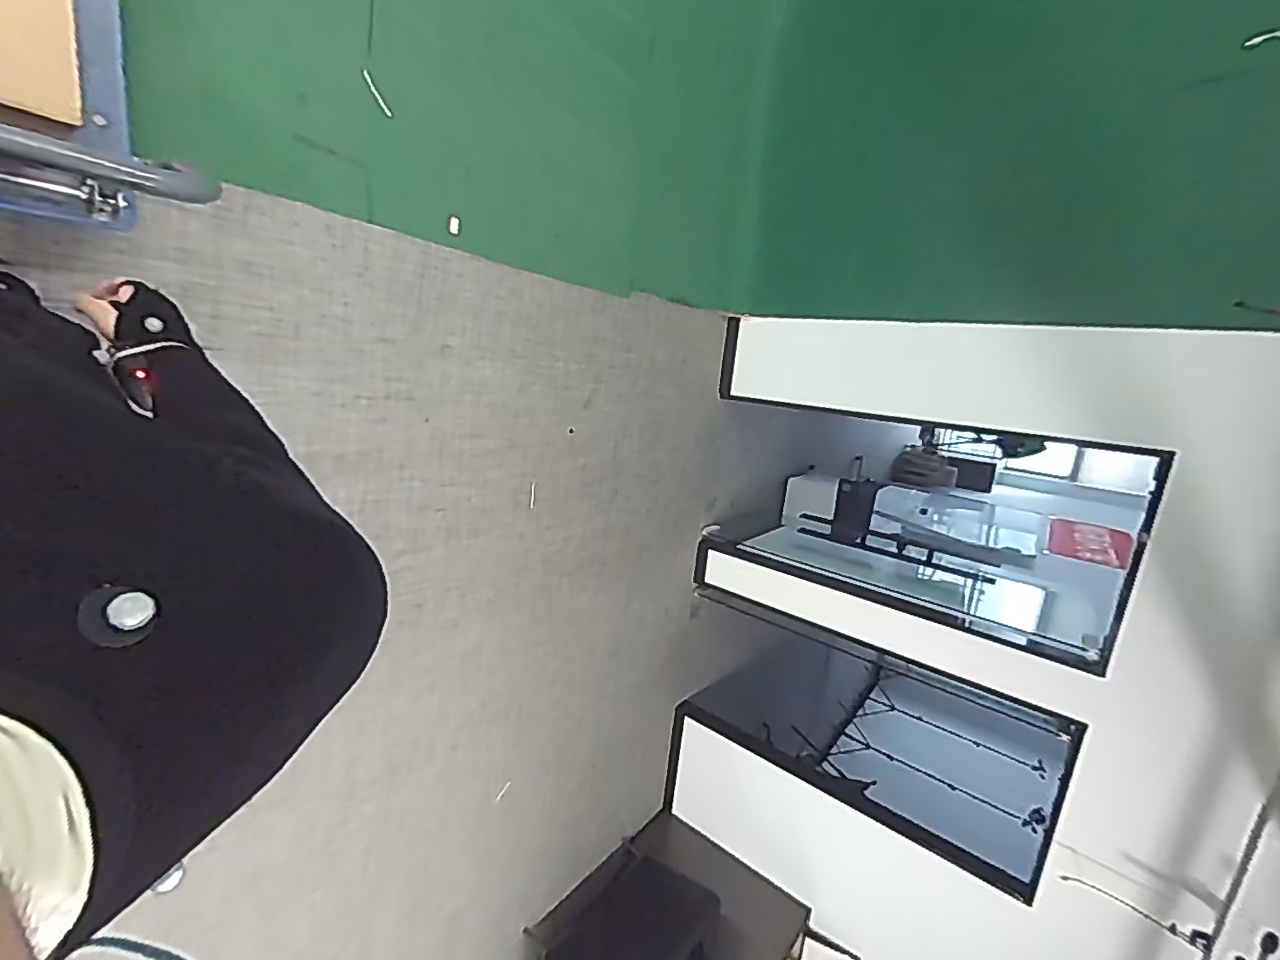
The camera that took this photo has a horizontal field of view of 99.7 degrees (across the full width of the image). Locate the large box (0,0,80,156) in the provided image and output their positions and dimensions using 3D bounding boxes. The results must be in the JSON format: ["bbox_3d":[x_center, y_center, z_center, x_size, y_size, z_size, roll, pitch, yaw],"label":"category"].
[{"bbox_3d":[-1.002,-0.714,0.709,0.320,0.320,0.408,-10,108,-52],"label":"large box"}]
